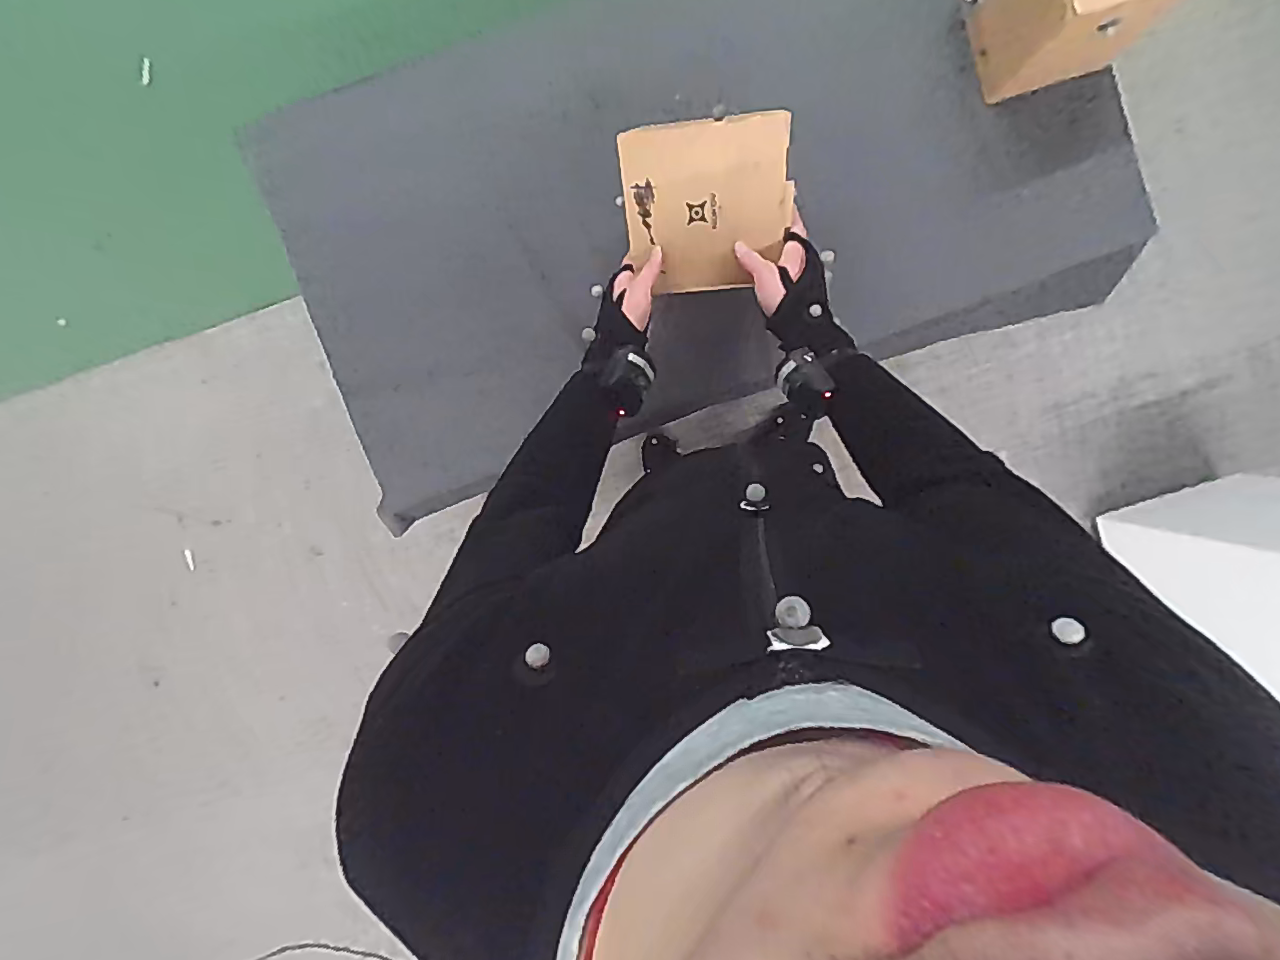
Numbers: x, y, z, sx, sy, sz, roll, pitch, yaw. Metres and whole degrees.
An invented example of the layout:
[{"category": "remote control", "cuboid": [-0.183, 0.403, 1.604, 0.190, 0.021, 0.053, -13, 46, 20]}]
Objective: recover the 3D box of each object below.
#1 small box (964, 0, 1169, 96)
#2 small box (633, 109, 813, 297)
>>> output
[{"category": "small box", "cuboid": [0.544, -0.634, 0.683, 0.179, 0.176, 0.168, -18, 95, 0]}, {"category": "small box", "cuboid": [0.093, -0.325, 0.631, 0.179, 0.176, 0.168, -1, 124, 9]}]
